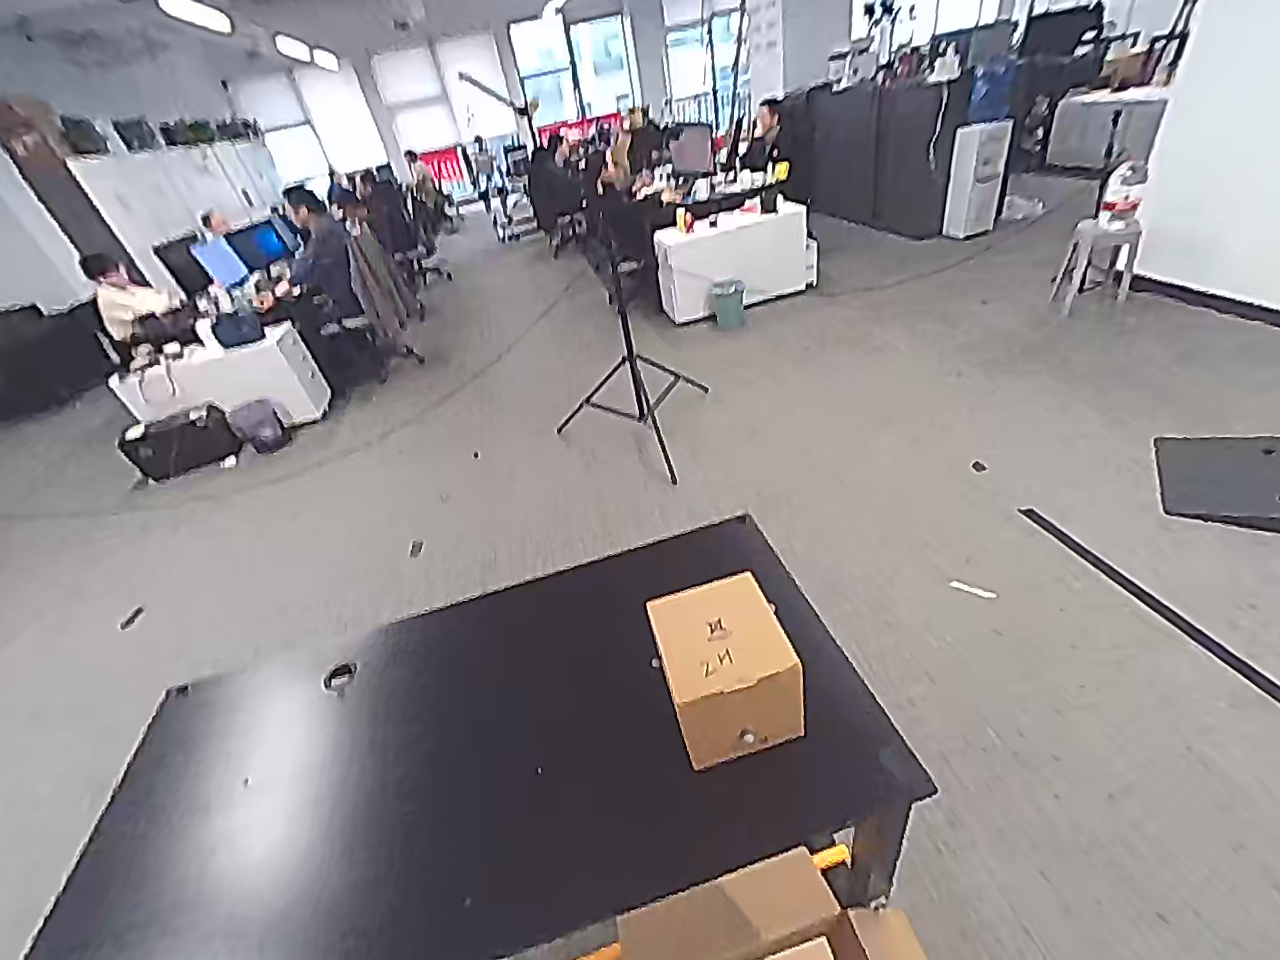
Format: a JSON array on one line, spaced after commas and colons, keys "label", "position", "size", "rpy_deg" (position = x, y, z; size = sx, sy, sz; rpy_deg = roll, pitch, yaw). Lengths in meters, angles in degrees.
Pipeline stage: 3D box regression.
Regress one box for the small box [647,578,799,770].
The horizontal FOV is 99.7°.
[{"label": "small box", "position": [0.118, 0.278, 0.783], "size": [0.168, 0.176, 0.179], "rpy_deg": [-16, 35, -4]}]
